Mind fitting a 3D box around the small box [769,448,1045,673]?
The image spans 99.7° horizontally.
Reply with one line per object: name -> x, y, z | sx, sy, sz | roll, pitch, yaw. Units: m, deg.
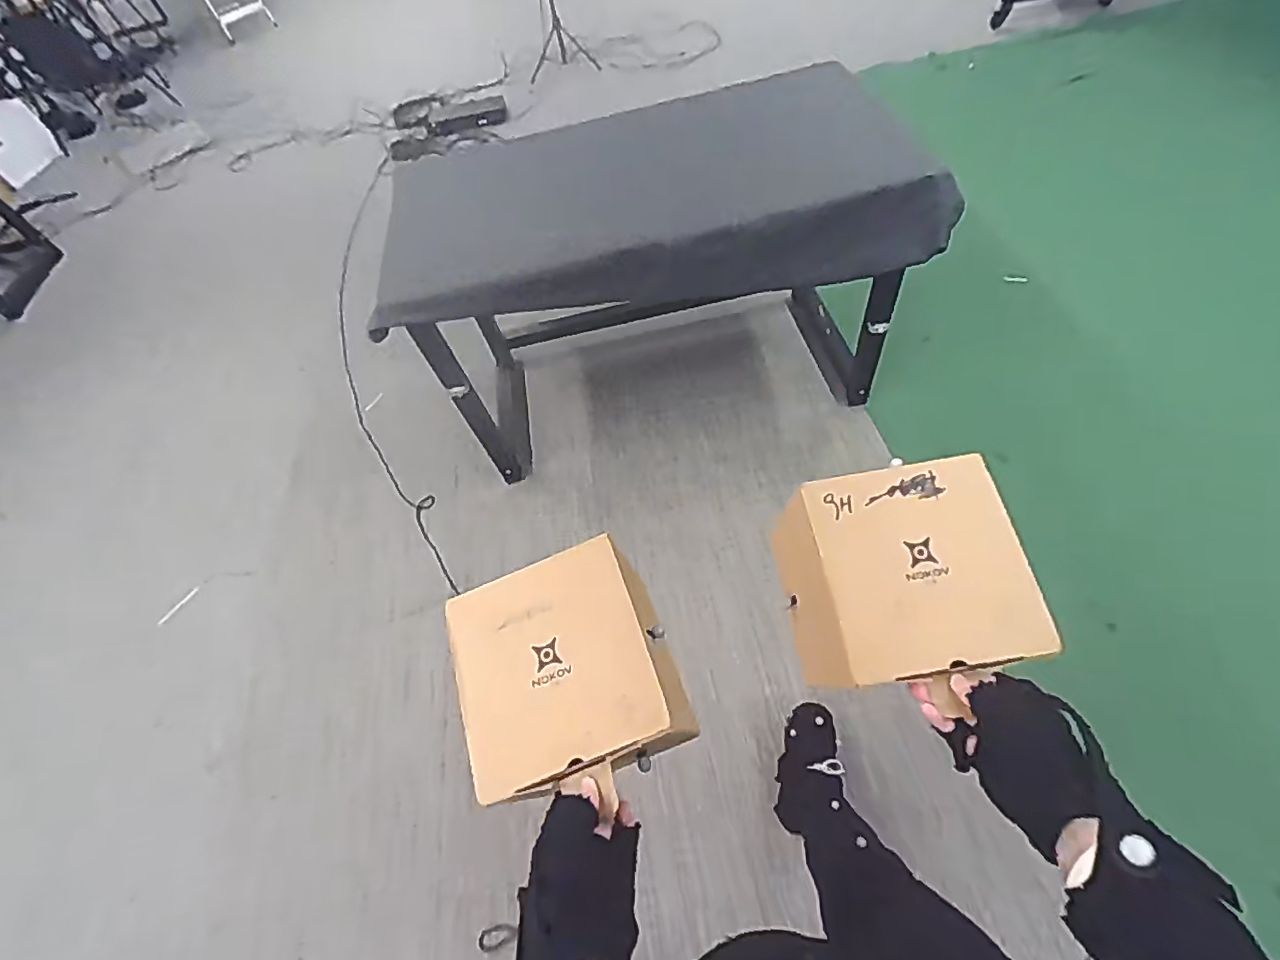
small box -> 0.240, 0.088, 0.539 | 0.168, 0.176, 0.179 | -9, 71, -2

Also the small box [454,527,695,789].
small box -> -0.056, 0.178, 0.535 | 0.168, 0.176, 0.179 | -23, 60, 1
